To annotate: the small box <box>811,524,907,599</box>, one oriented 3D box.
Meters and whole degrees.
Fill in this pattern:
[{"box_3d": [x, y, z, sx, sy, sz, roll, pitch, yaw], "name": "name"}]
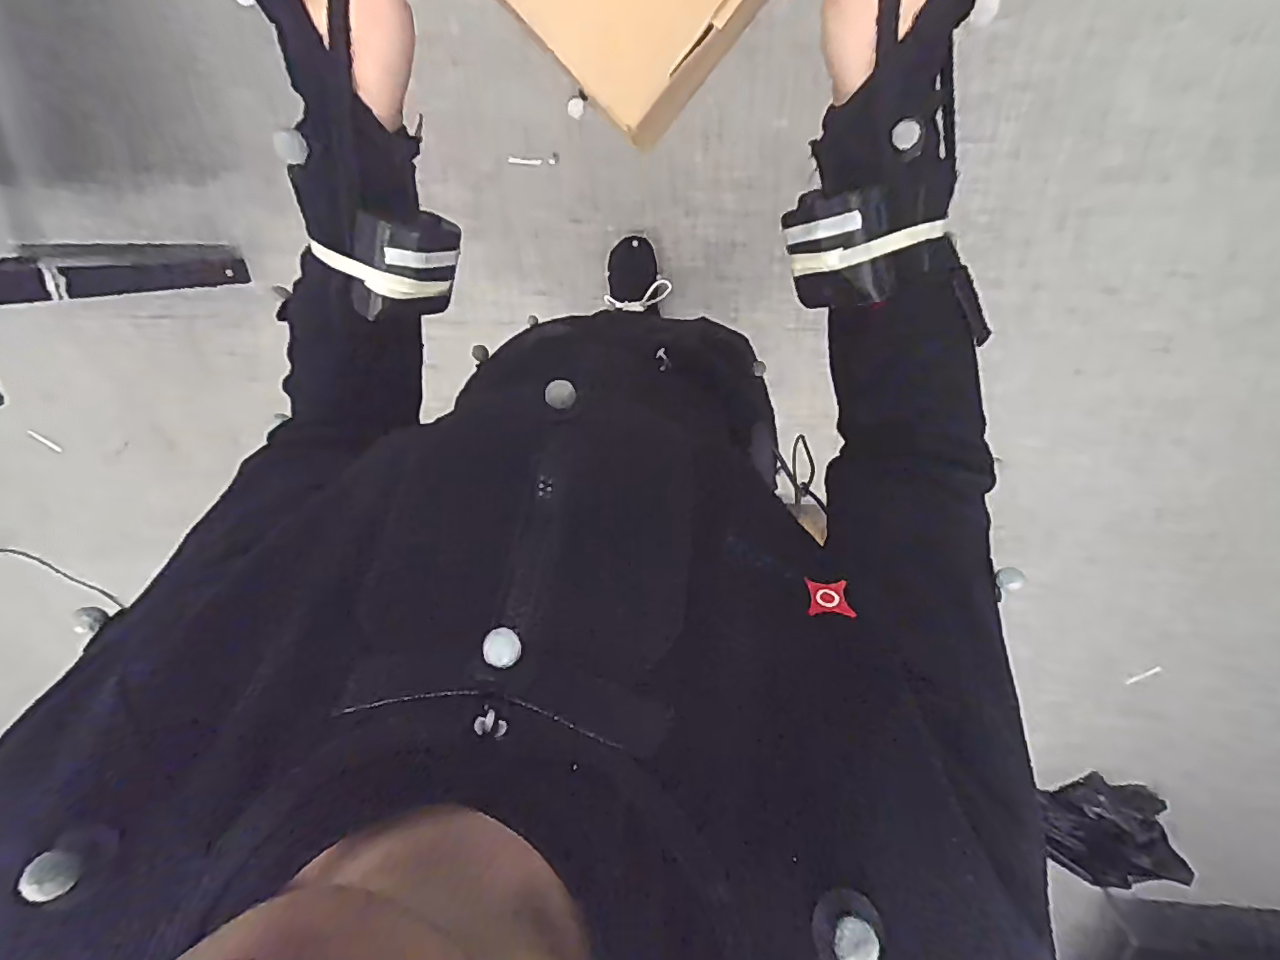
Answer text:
[{"box_3d": [0.555, 0.227, 1.395, 0.168, 0.176, 0.179, 5, 113, 1], "name": "small box"}]
